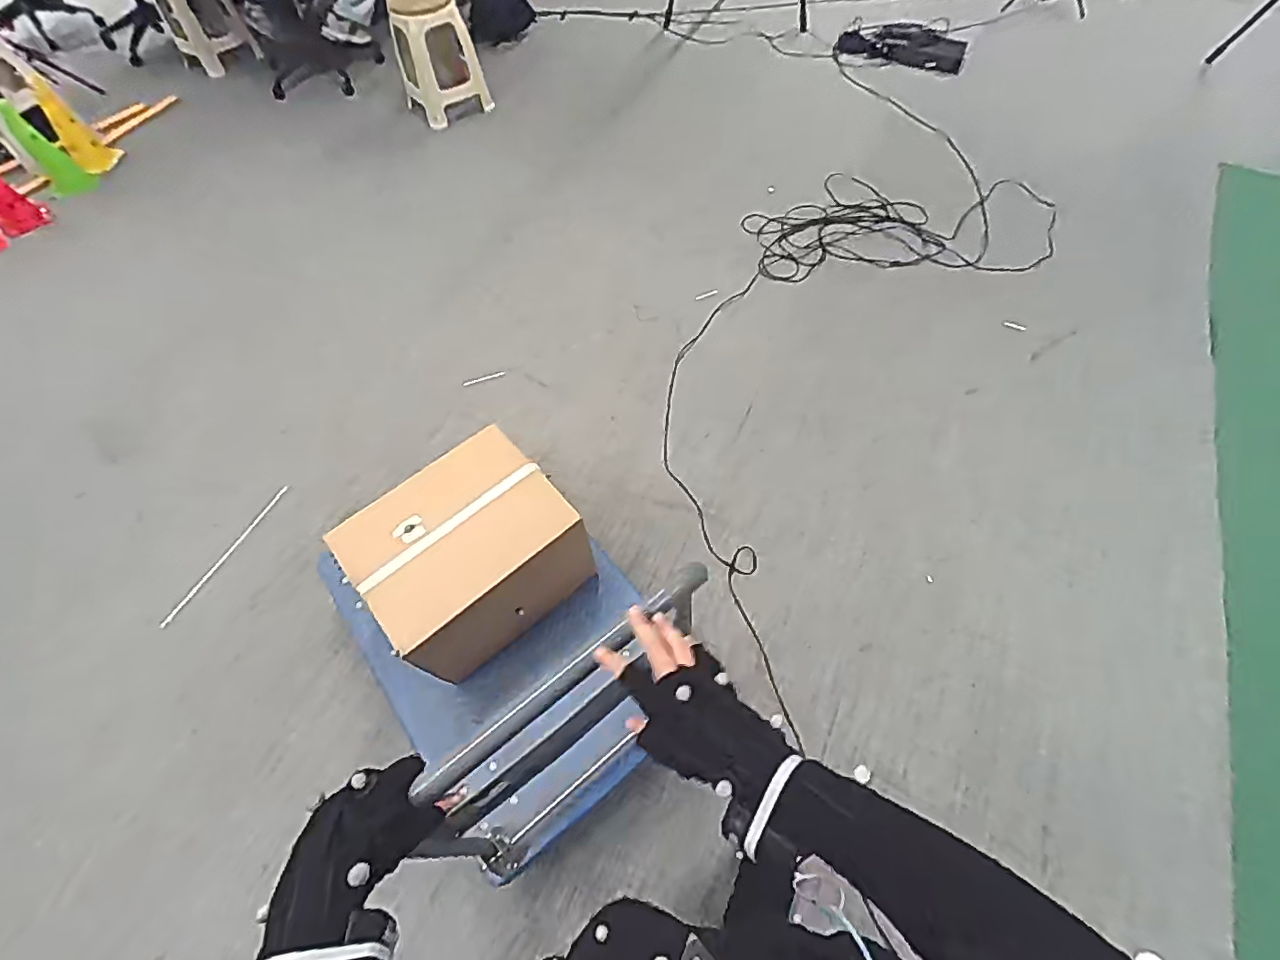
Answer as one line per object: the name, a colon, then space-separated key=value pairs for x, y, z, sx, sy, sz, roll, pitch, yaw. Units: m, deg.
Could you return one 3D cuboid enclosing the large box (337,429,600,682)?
large box: x=-0.345 y=0.172 z=1.193 sx=0.408 sy=0.320 sz=0.320 roll=-40 pitch=66 yaw=-18
